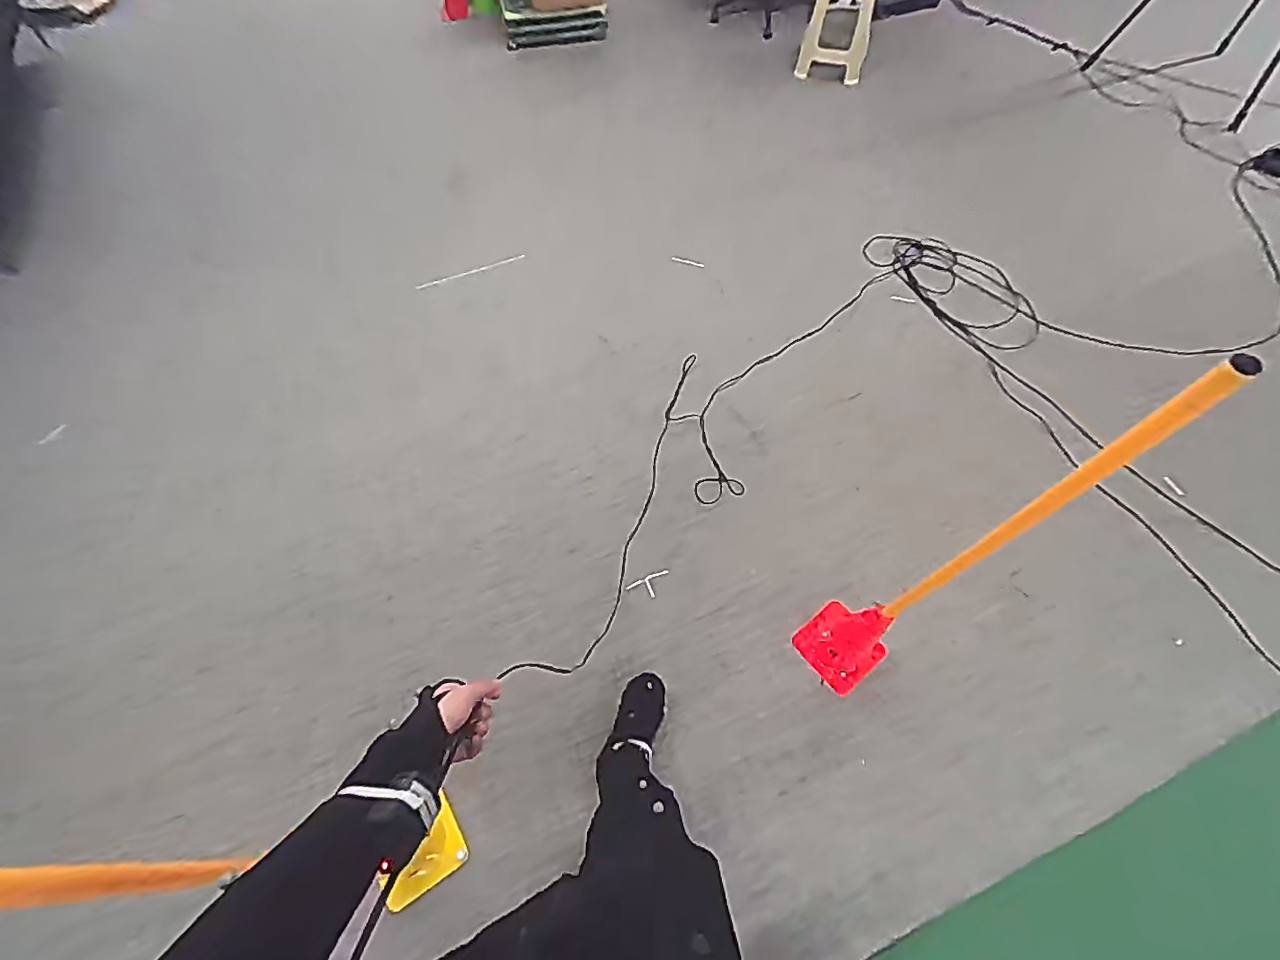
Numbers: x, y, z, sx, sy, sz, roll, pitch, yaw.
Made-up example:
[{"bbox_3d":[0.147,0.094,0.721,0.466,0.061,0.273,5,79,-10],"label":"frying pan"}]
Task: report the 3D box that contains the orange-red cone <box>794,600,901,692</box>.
[{"bbox_3d":[0.560,0.376,1.356,0.199,0.360,0.198,-34,67,-18],"label":"orange-red cone"}]
